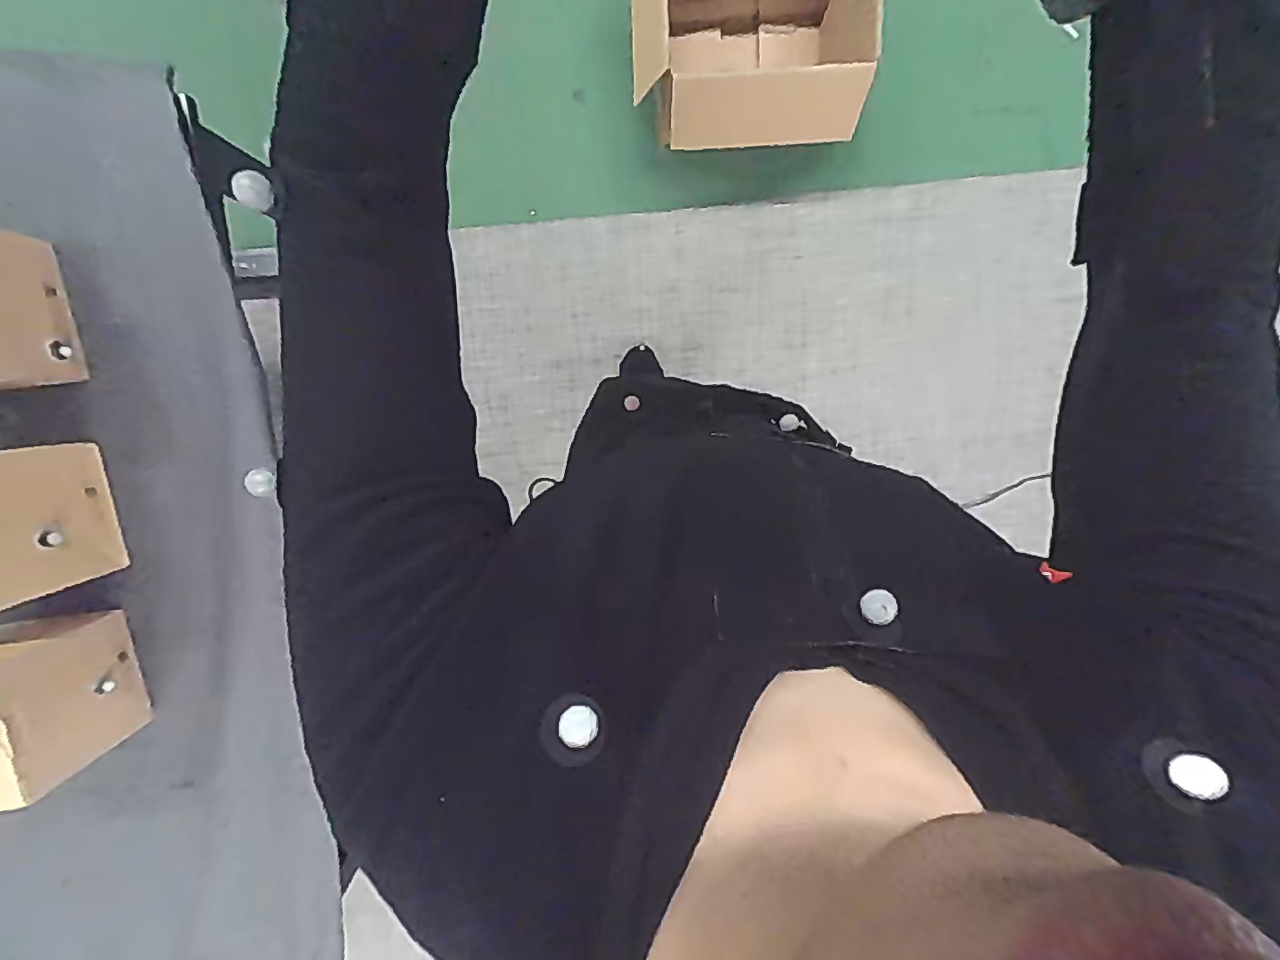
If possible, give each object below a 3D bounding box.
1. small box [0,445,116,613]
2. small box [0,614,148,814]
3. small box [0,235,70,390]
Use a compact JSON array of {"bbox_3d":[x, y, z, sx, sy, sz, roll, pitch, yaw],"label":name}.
[{"bbox_3d":[-0.763,0.056,0.620,0.179,0.176,0.168,-6,100,0],"label":"small box"},{"bbox_3d":[-0.767,0.277,0.654,0.179,0.176,0.168,-7,99,0],"label":"small box"},{"bbox_3d":[-0.780,-0.180,0.578,0.179,0.176,0.168,-7,100,0],"label":"small box"}]
